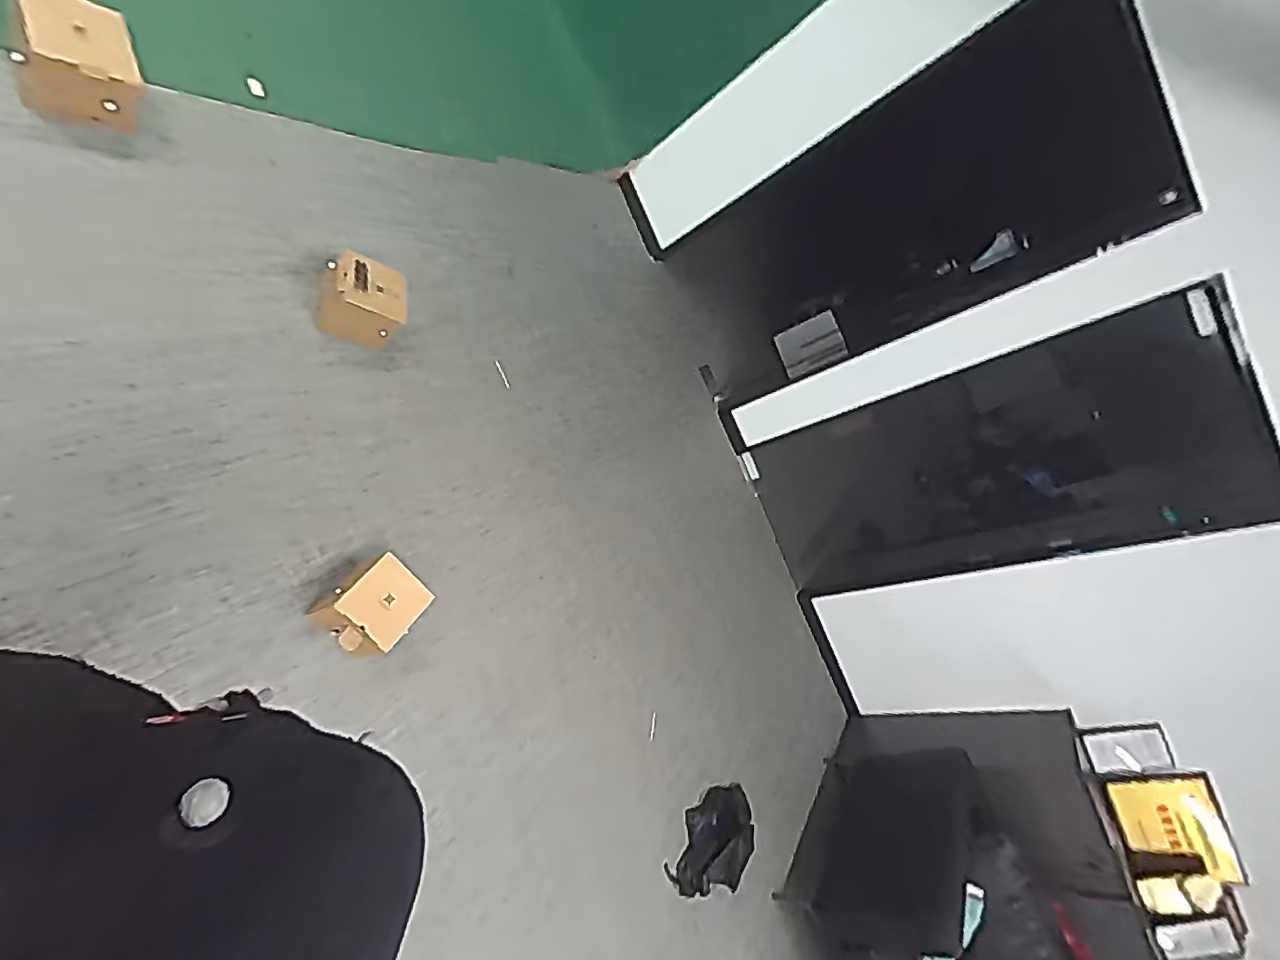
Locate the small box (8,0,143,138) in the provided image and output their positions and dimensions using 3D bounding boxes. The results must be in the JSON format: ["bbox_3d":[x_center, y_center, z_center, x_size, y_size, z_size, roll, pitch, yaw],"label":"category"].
[{"bbox_3d":[-1.219,-0.890,1.169,0.168,0.176,0.179,-16,86,-55],"label":"small box"}]

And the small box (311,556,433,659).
[{"bbox_3d":[-0.653,0.313,1.315,0.168,0.176,0.179,54,41,-20],"label":"small box"}]
